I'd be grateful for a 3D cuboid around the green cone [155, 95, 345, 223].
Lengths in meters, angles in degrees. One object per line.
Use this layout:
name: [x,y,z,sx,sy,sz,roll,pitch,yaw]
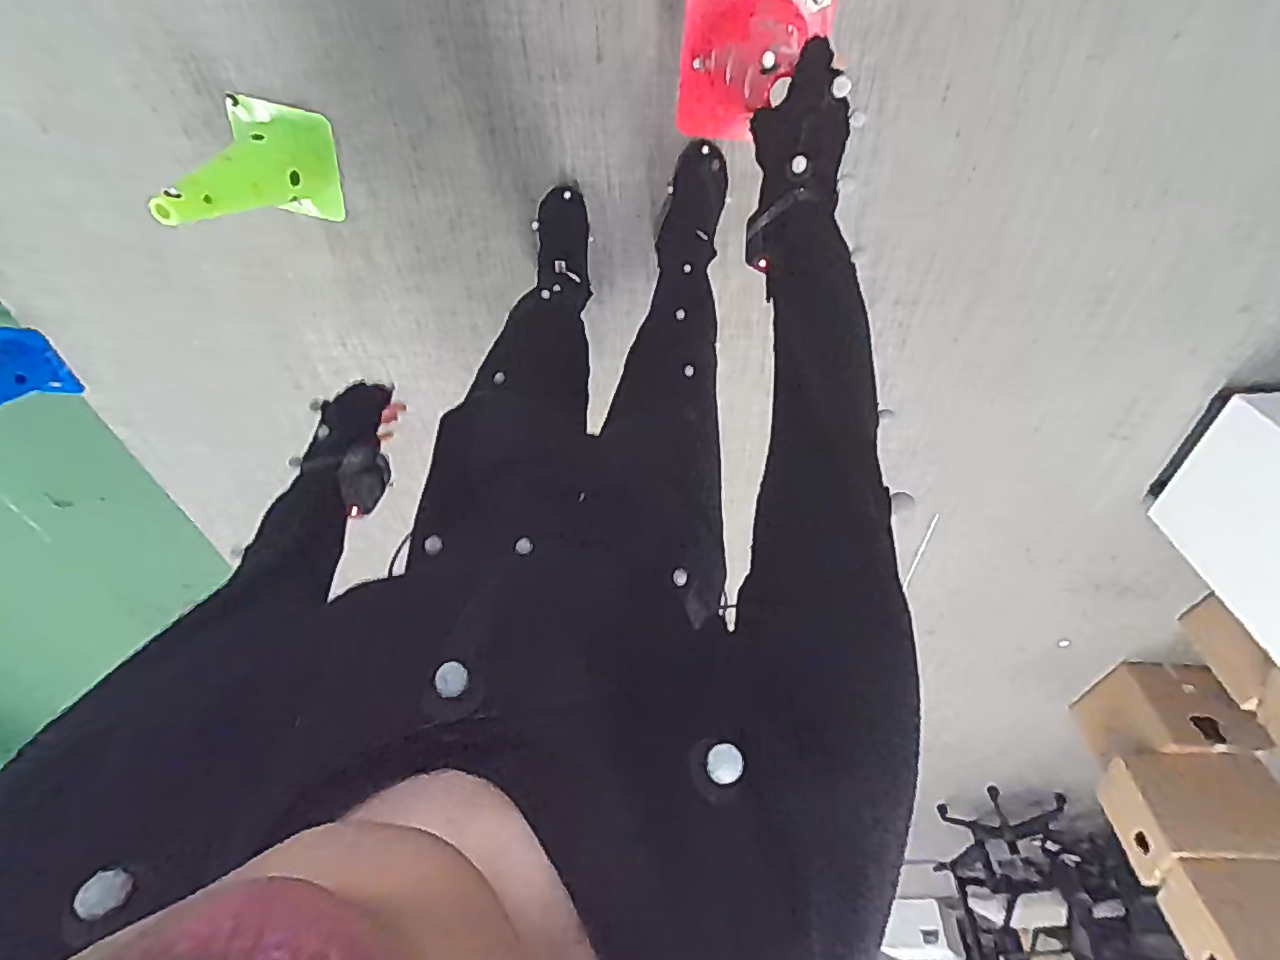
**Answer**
green cone: [-0.730,-0.539,0.979,0.202,0.368,0.200,10,132,-4]
